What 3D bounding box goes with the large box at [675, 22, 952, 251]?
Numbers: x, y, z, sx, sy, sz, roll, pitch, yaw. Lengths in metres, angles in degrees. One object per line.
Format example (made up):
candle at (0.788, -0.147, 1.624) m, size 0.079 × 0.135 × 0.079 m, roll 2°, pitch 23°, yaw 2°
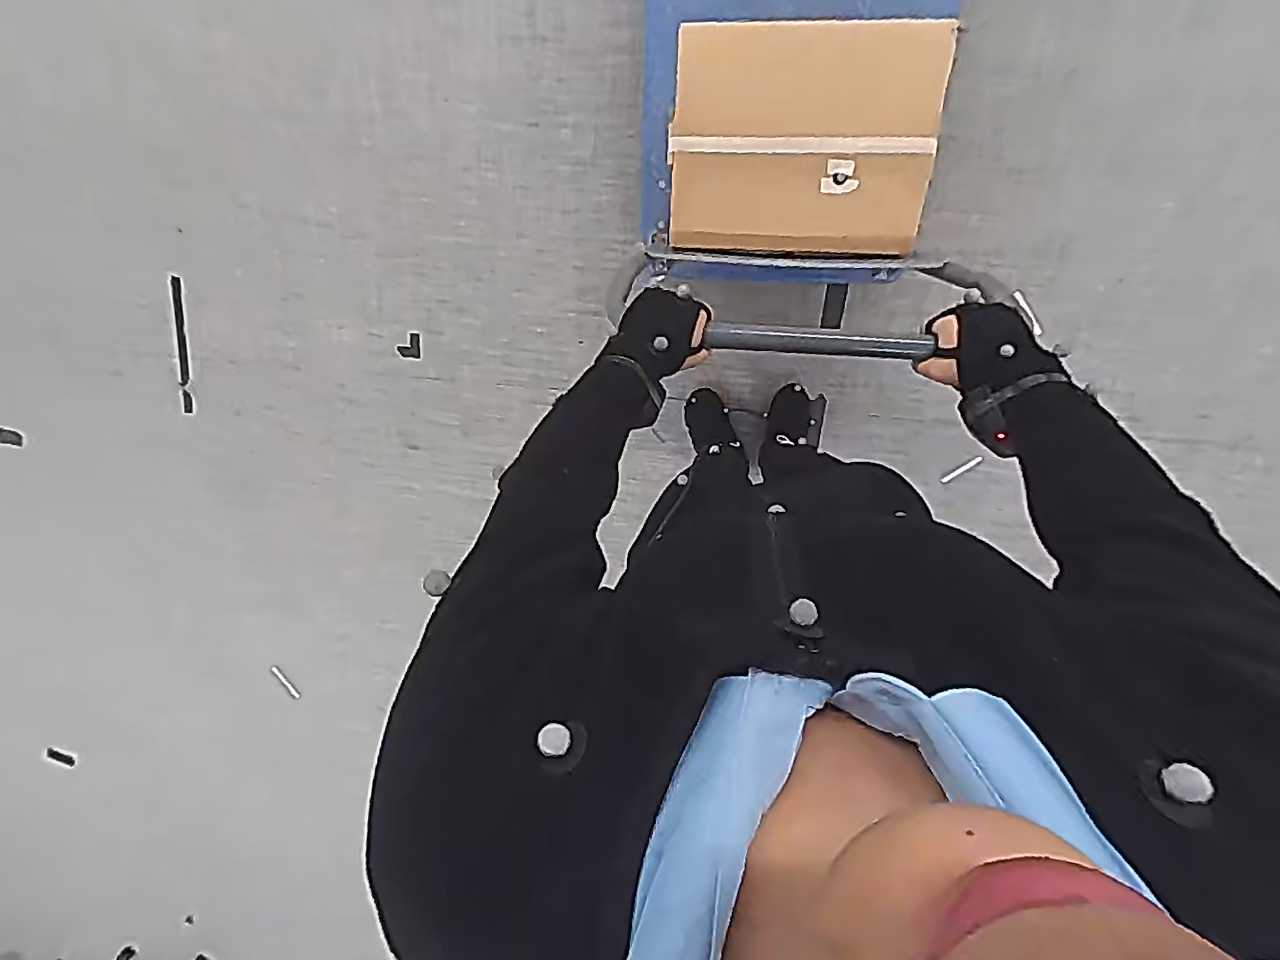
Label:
large box at (0.275, -0.598, 1.005) m, size 0.408 × 0.320 × 0.320 m, roll 4°, pitch 115°, yaw 6°
